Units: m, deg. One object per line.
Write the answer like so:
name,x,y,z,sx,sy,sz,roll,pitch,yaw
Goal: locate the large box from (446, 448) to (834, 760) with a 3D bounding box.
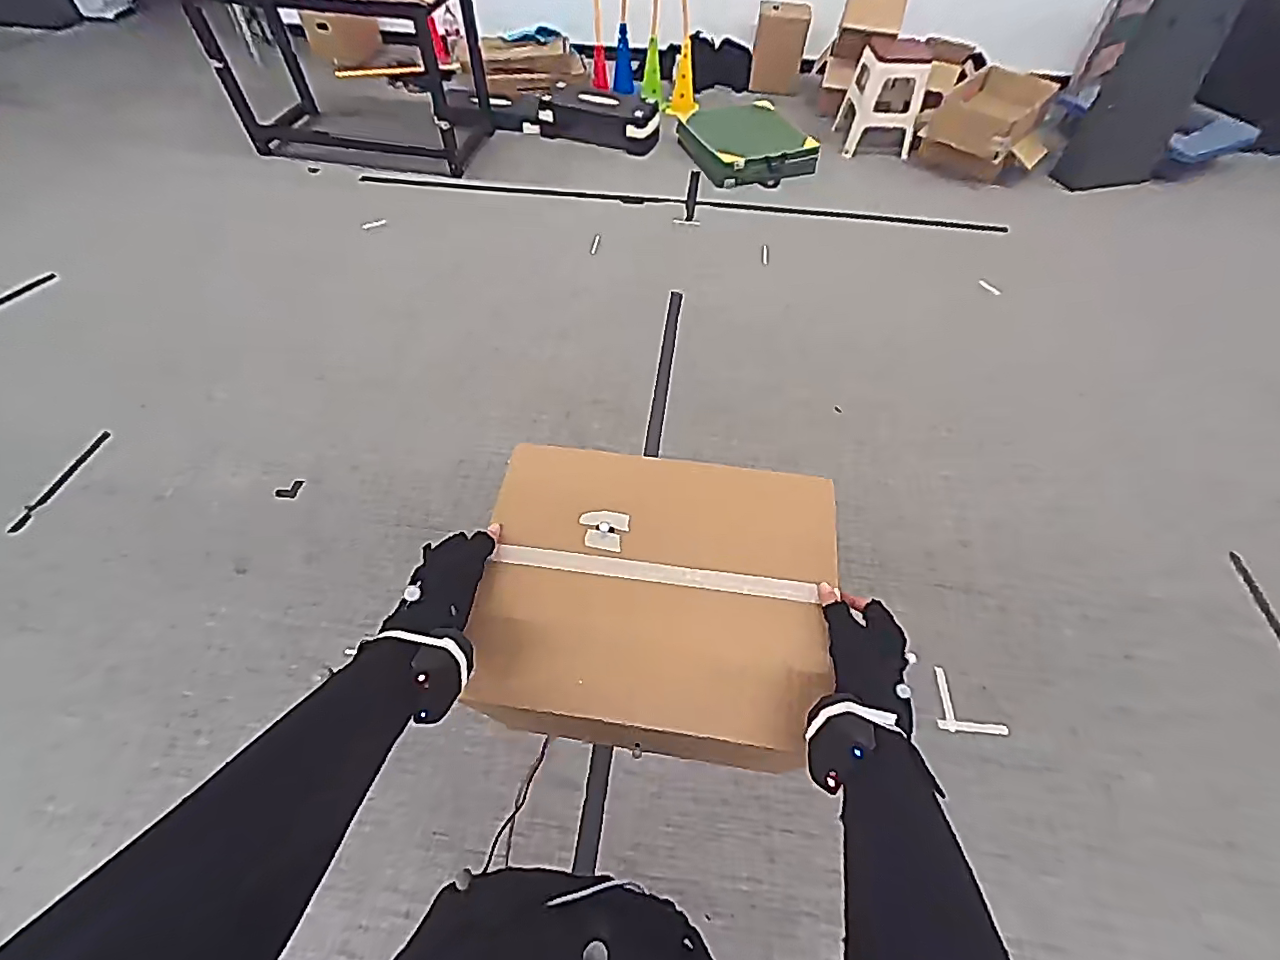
large box,0.020,0.183,0.744,0.408,0.320,0.320,7,59,6
